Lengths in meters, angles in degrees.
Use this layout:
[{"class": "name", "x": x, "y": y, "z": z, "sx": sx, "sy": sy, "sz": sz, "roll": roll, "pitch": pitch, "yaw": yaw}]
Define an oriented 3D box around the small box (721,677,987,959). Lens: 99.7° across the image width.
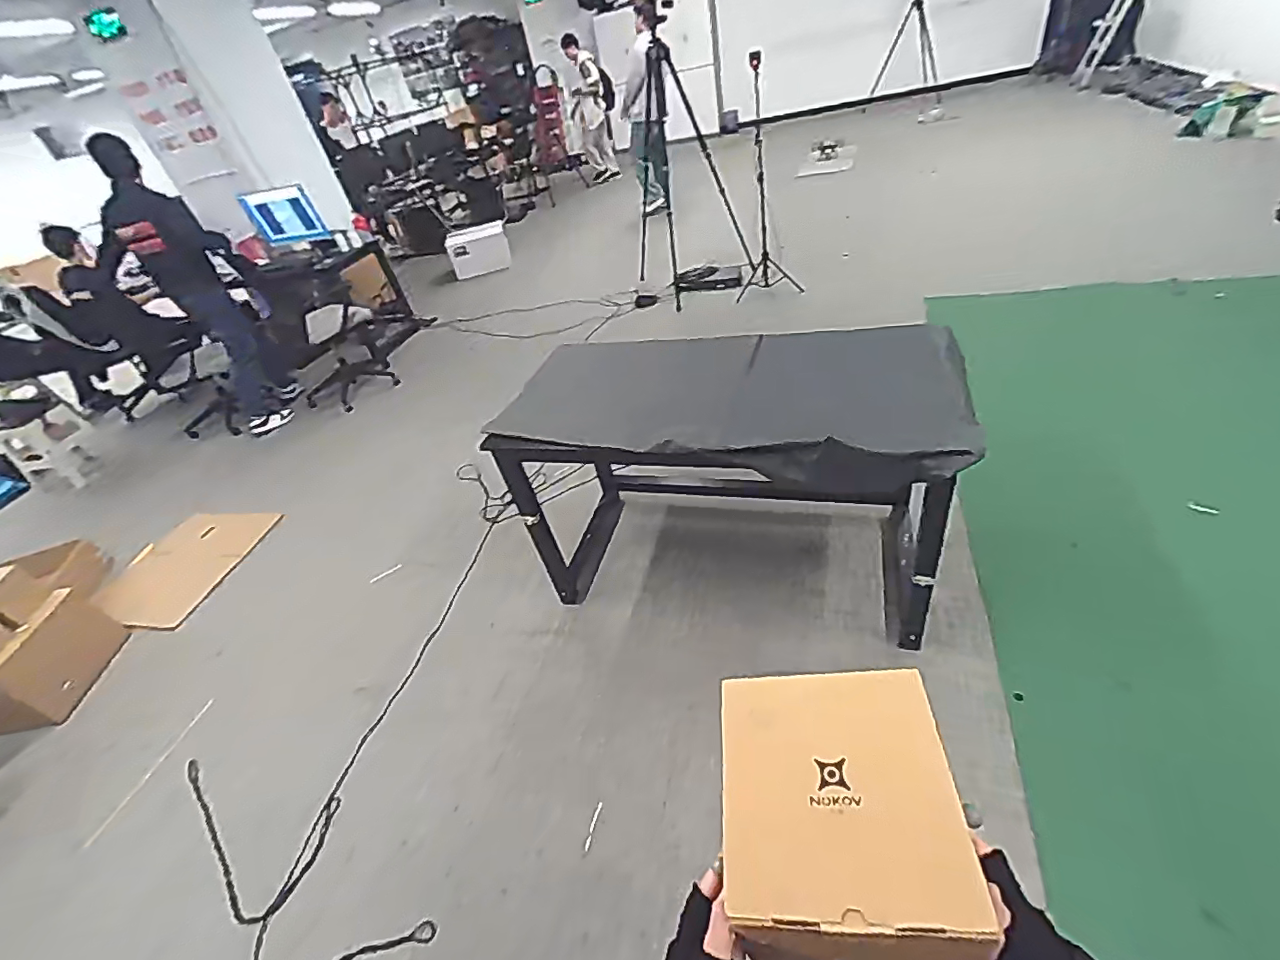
[{"class": "small box", "x": 0.164, "y": 0.293, "z": 0.460, "sx": 0.168, "sy": 0.176, "sz": 0.179, "roll": -9, "pitch": 39, "yaw": 14}]
